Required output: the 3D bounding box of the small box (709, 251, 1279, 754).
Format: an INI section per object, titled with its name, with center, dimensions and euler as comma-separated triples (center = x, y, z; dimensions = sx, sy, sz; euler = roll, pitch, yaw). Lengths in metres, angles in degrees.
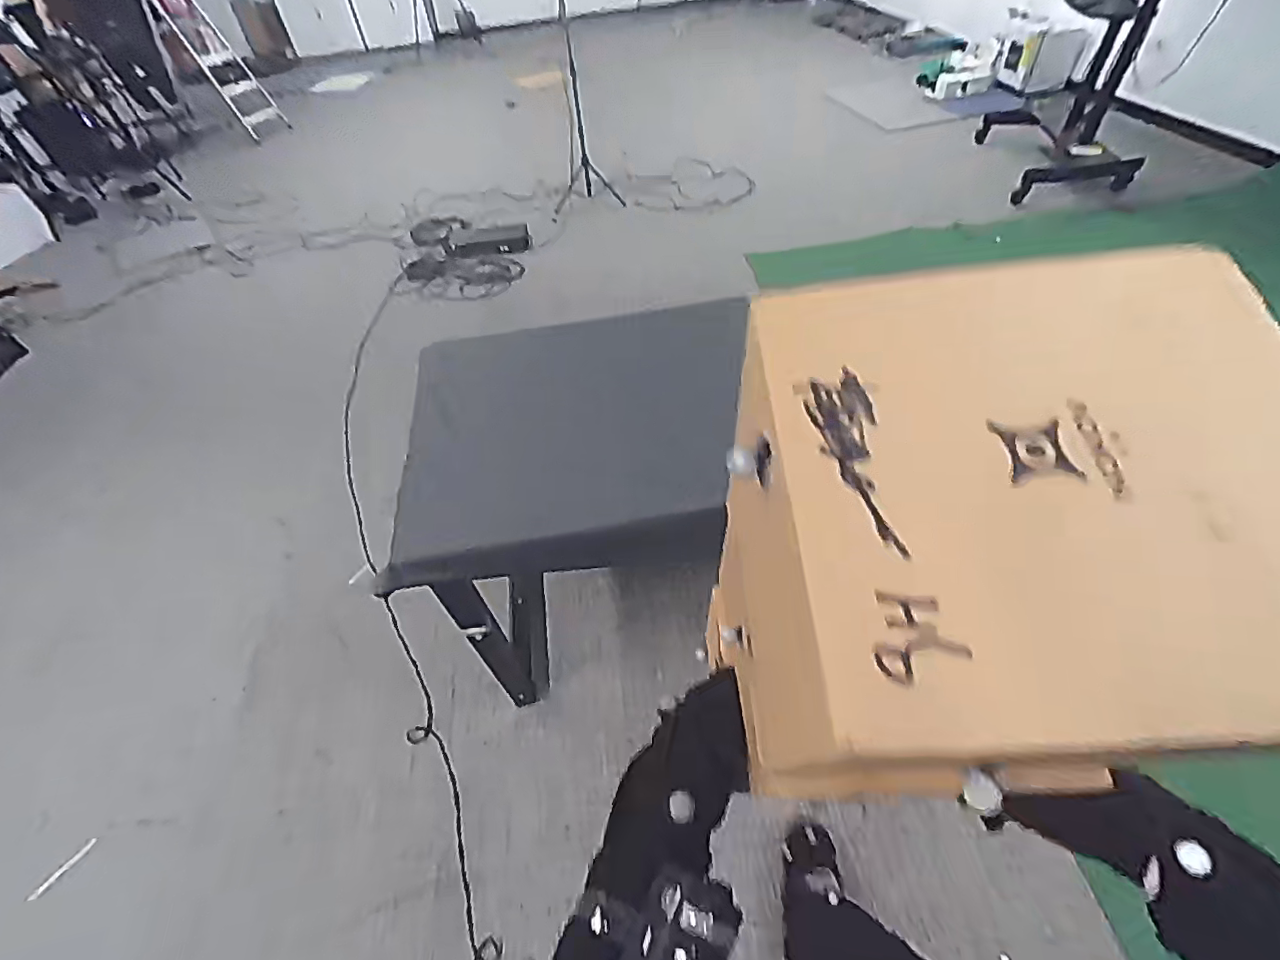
[small box]
center = 0.126, 0.027, 0.244
dimensions = 0.179, 0.176, 0.168
euler = -4, 61, 4
